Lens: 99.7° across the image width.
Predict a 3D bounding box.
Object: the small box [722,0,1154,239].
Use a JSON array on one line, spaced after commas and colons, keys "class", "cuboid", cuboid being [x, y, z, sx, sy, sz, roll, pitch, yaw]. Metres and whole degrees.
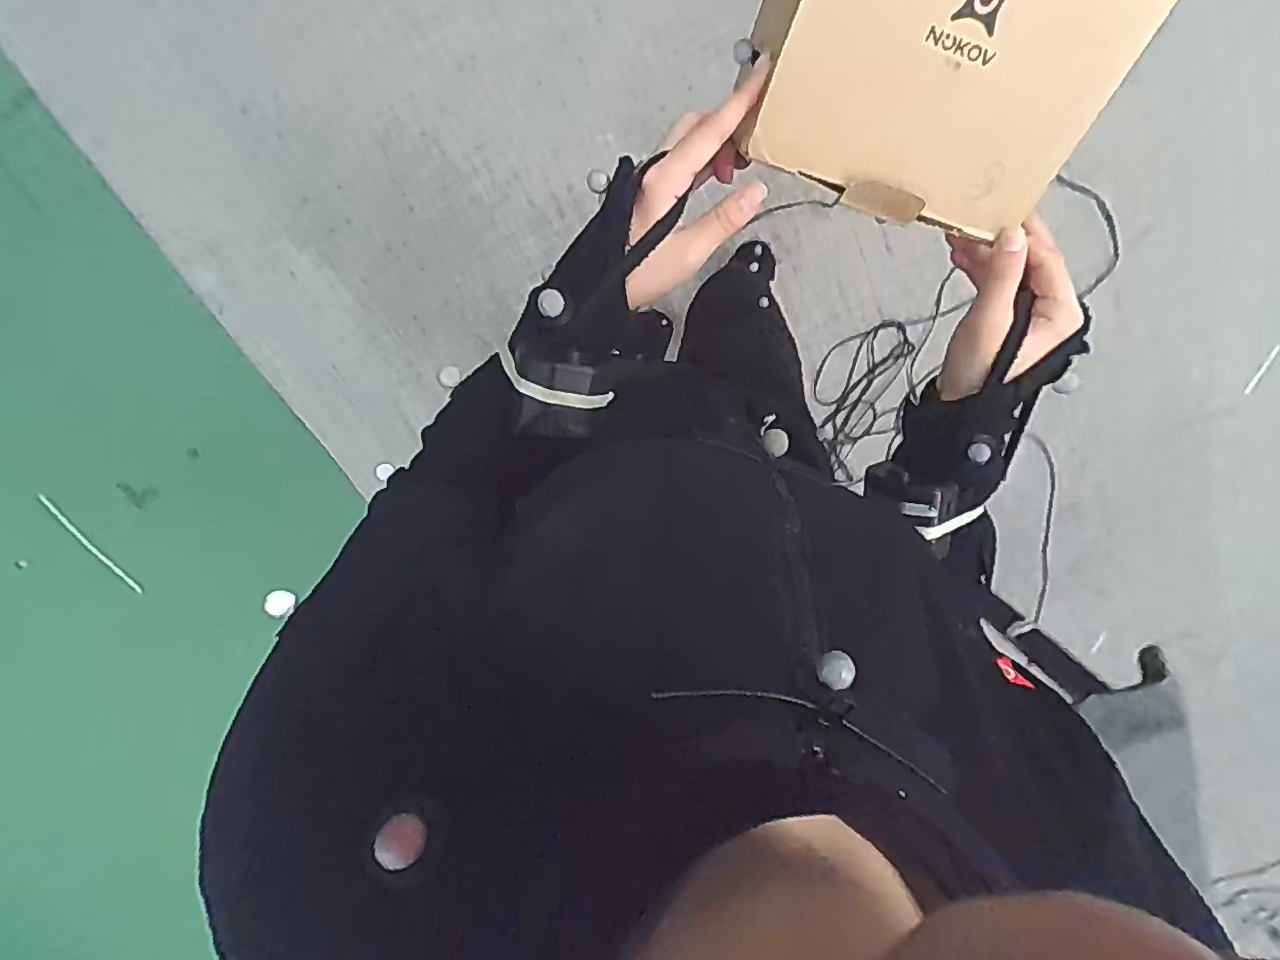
[{"class": "small box", "cuboid": [0.154, -0.271, 0.314, 0.168, 0.176, 0.179, 13, 127, -8]}]
